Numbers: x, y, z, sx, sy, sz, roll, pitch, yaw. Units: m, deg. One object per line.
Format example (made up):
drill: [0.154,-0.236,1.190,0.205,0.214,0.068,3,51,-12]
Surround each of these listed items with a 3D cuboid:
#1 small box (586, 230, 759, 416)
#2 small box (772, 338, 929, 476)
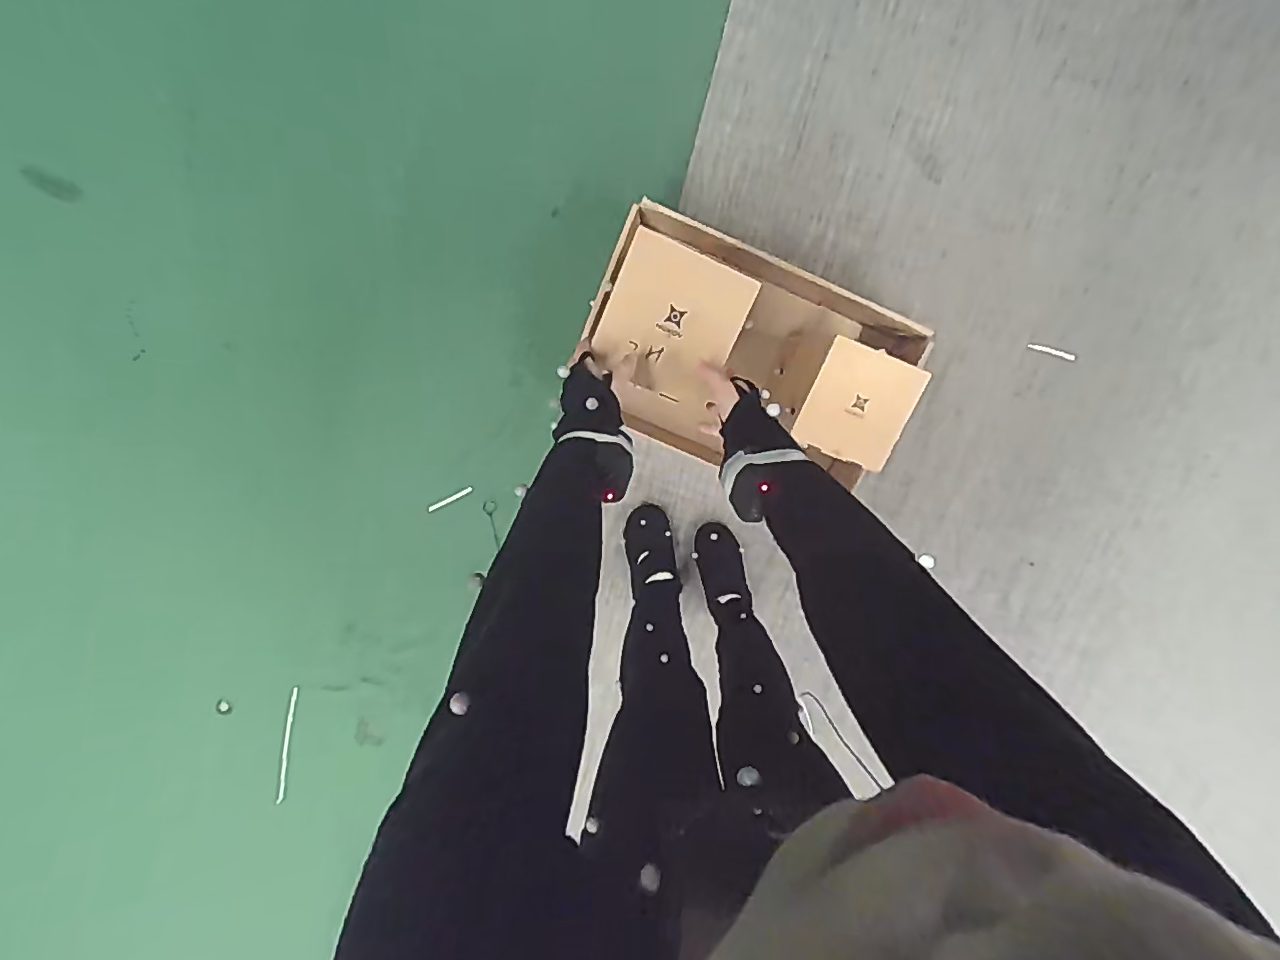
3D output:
small box: [0.037,-0.209,0.743,0.168,0.176,0.179,23,104,-6]
small box: [0.344,-0.132,0.926,0.168,0.176,0.179,21,105,-4]
